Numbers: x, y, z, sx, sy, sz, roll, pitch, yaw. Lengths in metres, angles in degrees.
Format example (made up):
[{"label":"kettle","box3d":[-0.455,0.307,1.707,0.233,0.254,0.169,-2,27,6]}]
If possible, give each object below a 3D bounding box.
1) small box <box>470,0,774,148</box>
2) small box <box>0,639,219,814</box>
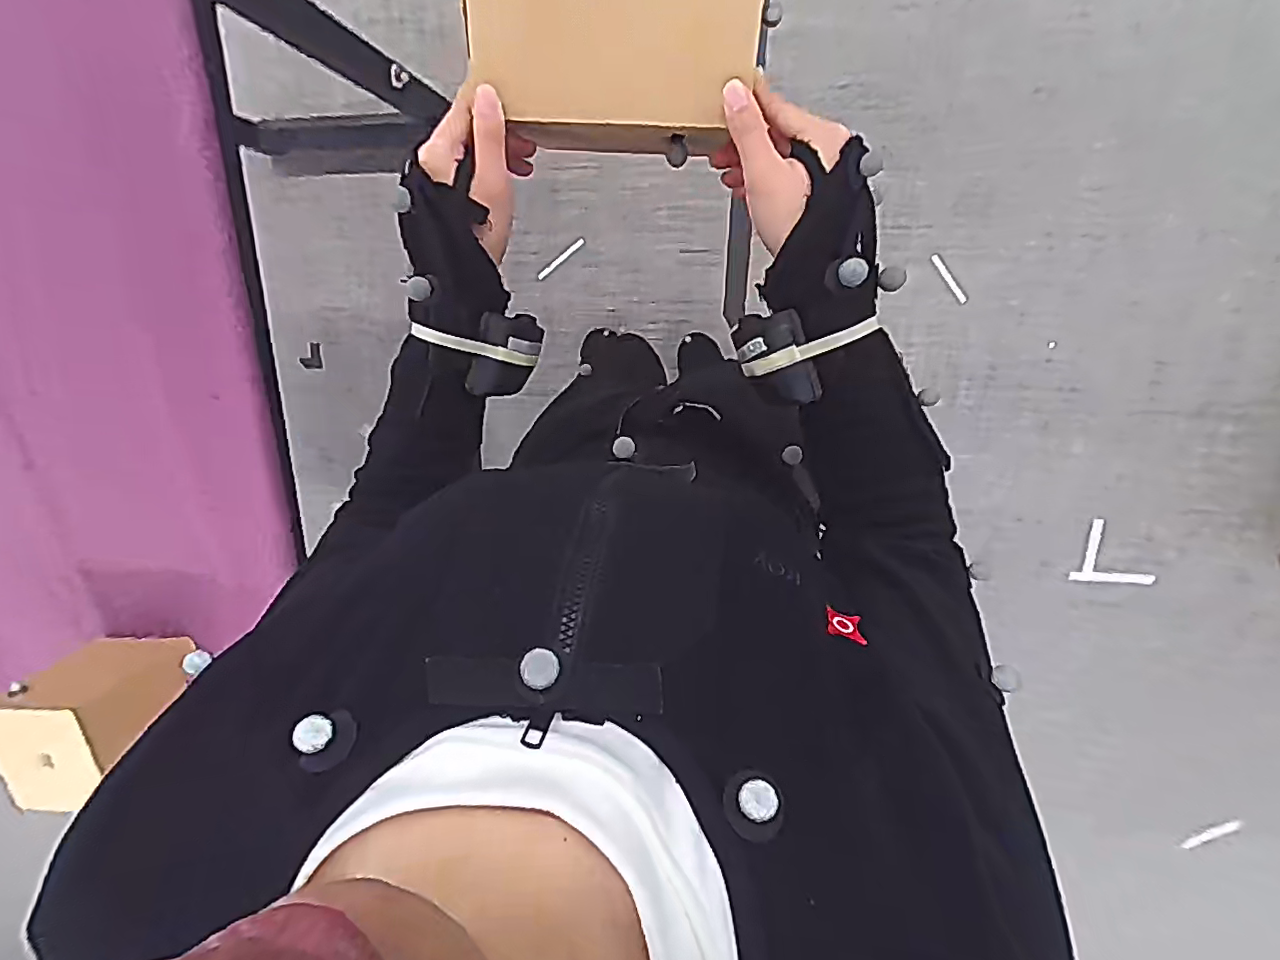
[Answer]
[{"label":"small box","box3d":[-0.001,-0.332,0.365,0.179,0.176,0.168,7,116,6]},{"label":"small box","box3d":[-0.760,0.346,0.784,0.179,0.176,0.168,-4,105,11]}]
